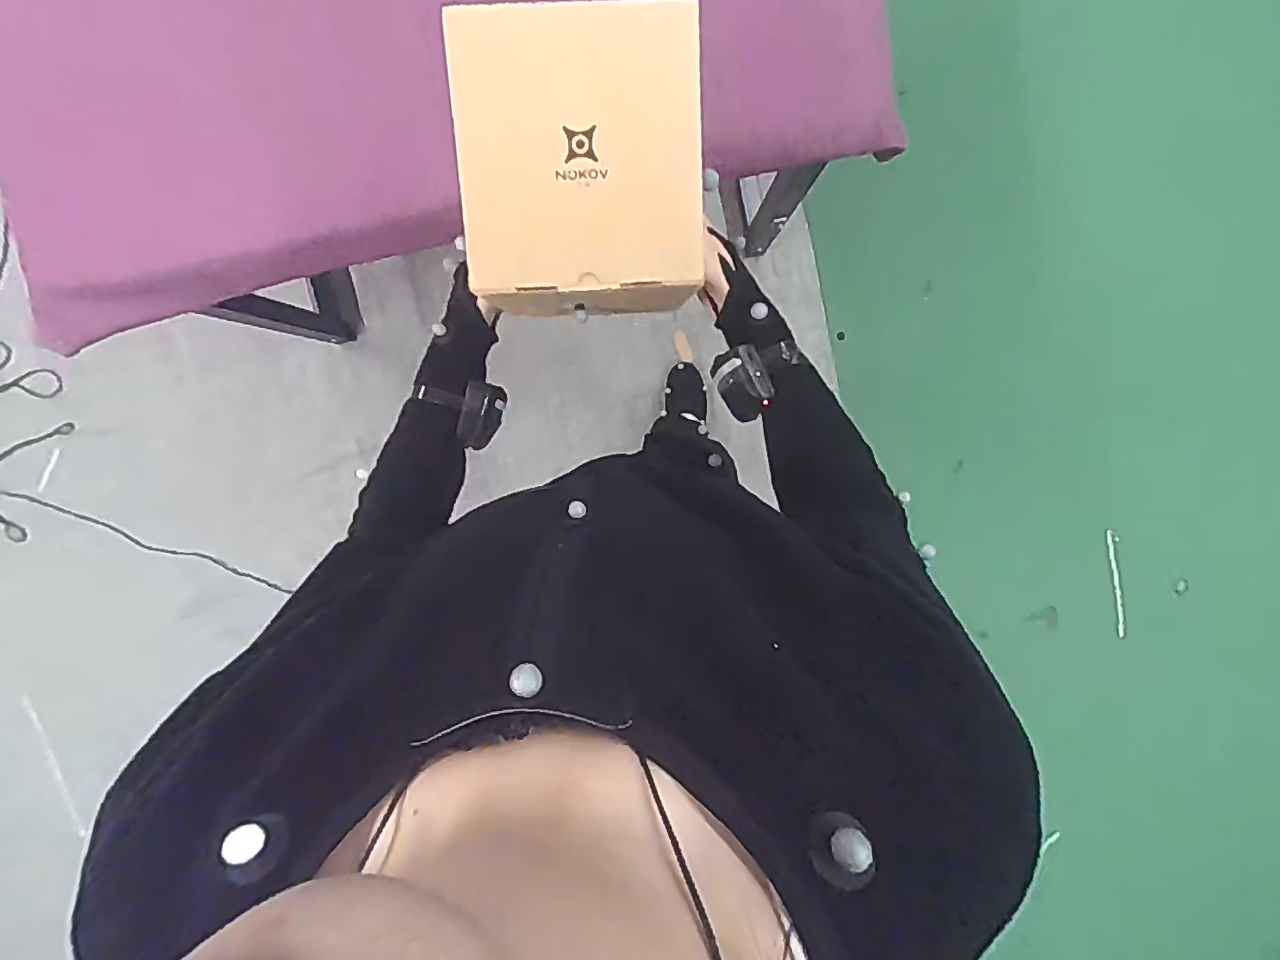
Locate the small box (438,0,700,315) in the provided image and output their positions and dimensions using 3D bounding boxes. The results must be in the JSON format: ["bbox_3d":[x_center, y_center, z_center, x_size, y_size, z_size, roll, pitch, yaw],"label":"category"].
[{"bbox_3d":[-0.046,-0.234,0.432,0.168,0.176,0.179,-3,102,-1],"label":"small box"}]
